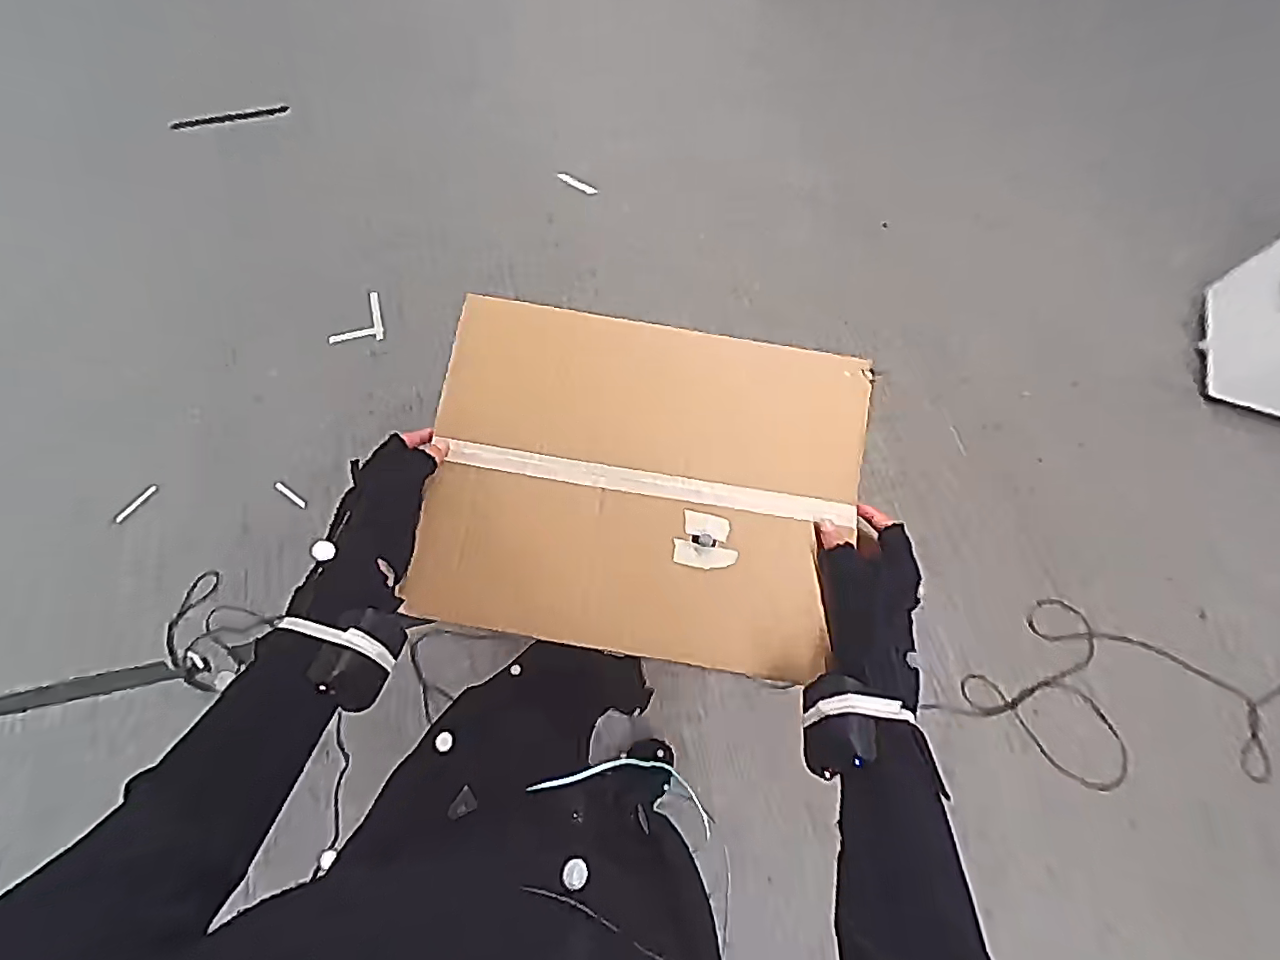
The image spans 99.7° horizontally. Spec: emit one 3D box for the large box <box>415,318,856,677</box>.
[{"bbox_3d":[-0.001,0.031,0.675,0.408,0.320,0.320,9,82,0],"label":"large box"}]
